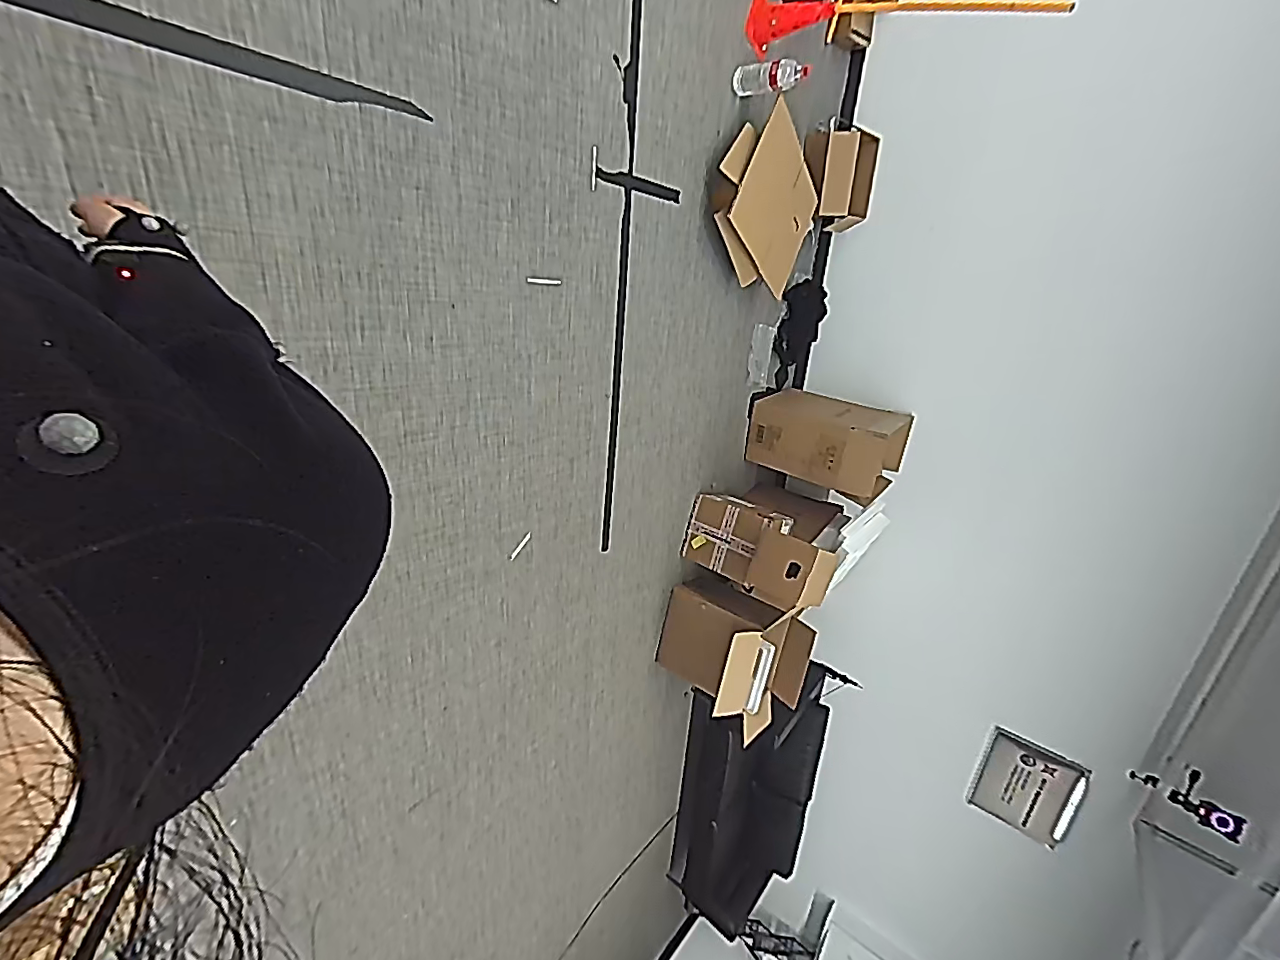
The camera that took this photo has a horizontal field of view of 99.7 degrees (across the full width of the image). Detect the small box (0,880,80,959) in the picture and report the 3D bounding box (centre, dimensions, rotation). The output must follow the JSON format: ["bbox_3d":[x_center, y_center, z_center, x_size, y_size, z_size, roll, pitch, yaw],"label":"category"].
[{"bbox_3d":[-1.101,0.848,0.924,0.179,0.176,0.168,-21,121,-47],"label":"small box"}]
